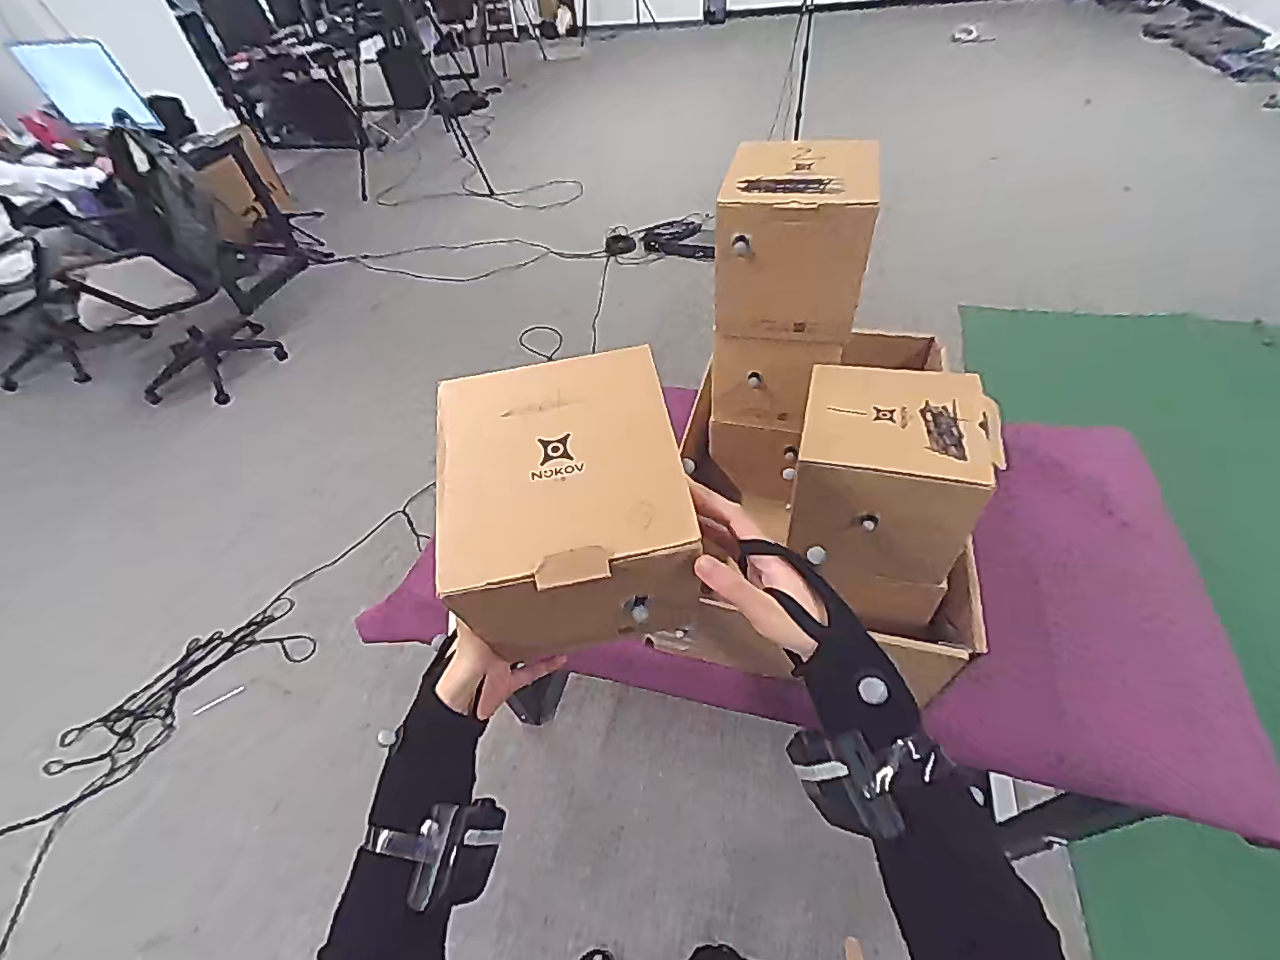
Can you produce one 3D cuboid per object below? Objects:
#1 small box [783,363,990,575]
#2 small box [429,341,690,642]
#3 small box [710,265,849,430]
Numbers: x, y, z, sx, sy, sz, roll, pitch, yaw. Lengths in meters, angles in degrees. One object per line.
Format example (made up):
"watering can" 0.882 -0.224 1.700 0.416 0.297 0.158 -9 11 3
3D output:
"small box" 0.268 -0.011 0.618 0.179 0.176 0.168 8 49 17
"small box" -0.056 0.020 0.439 0.168 0.176 0.179 -10 58 -3
"small box" 0.204 -0.193 0.799 0.168 0.176 0.179 10 52 15
